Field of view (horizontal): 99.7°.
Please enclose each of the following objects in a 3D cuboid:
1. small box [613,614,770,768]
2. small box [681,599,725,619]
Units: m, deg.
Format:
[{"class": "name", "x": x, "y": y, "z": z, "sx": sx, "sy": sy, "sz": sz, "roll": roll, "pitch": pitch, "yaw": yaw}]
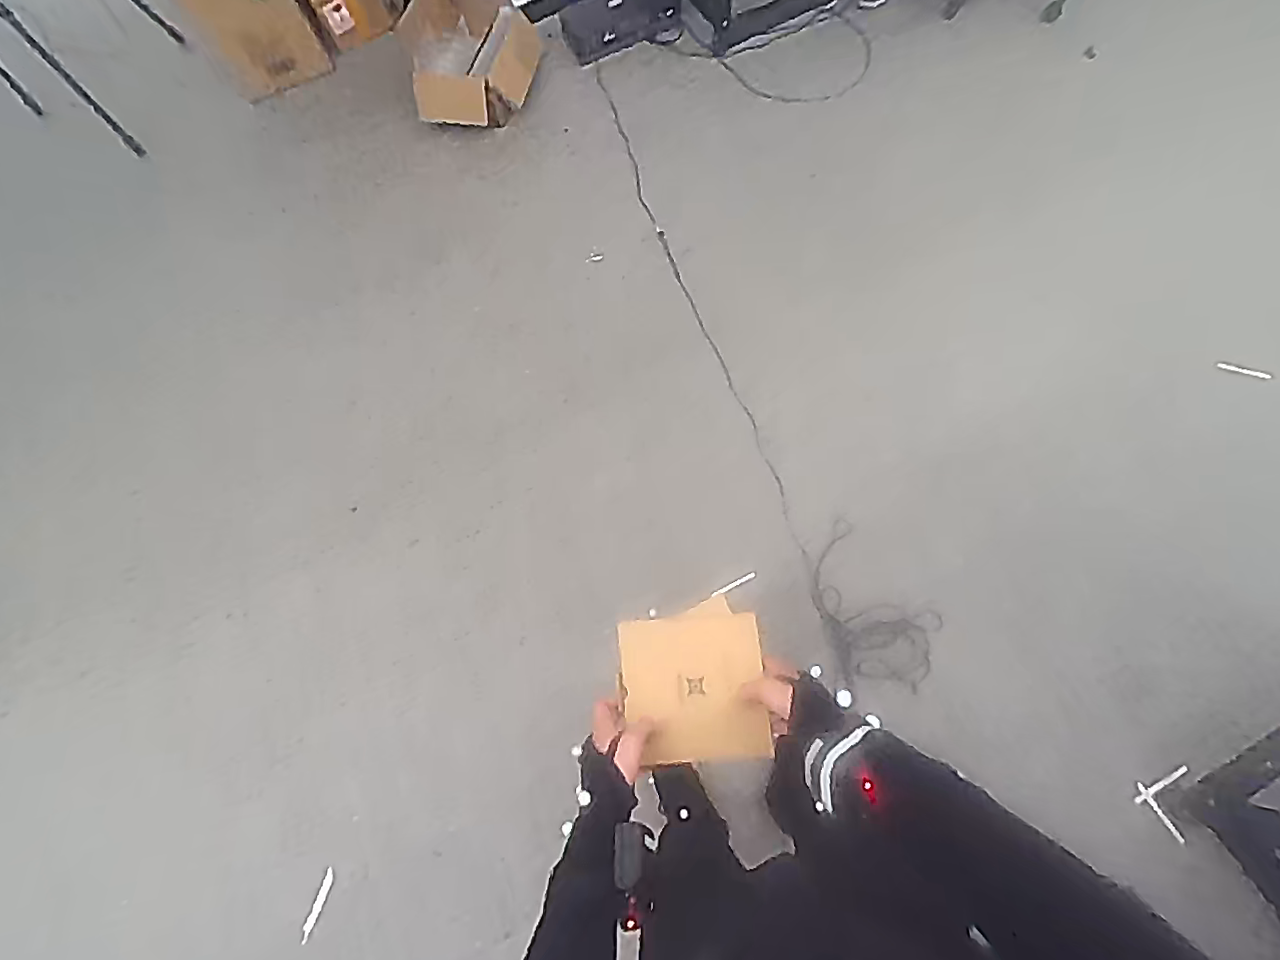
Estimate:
[{"class": "small box", "x": 0.065, "y": 0.272, "z": 0.719, "sx": 0.179, "sy": 0.176, "sz": 0.168, "roll": -6, "pitch": 74, "yaw": 3}, {"class": "small box", "x": 0.160, "y": 0.427, "z": 1.377, "sx": 0.179, "sy": 0.176, "sz": 0.168, "roll": -29, "pitch": 70, "yaw": -4}]
